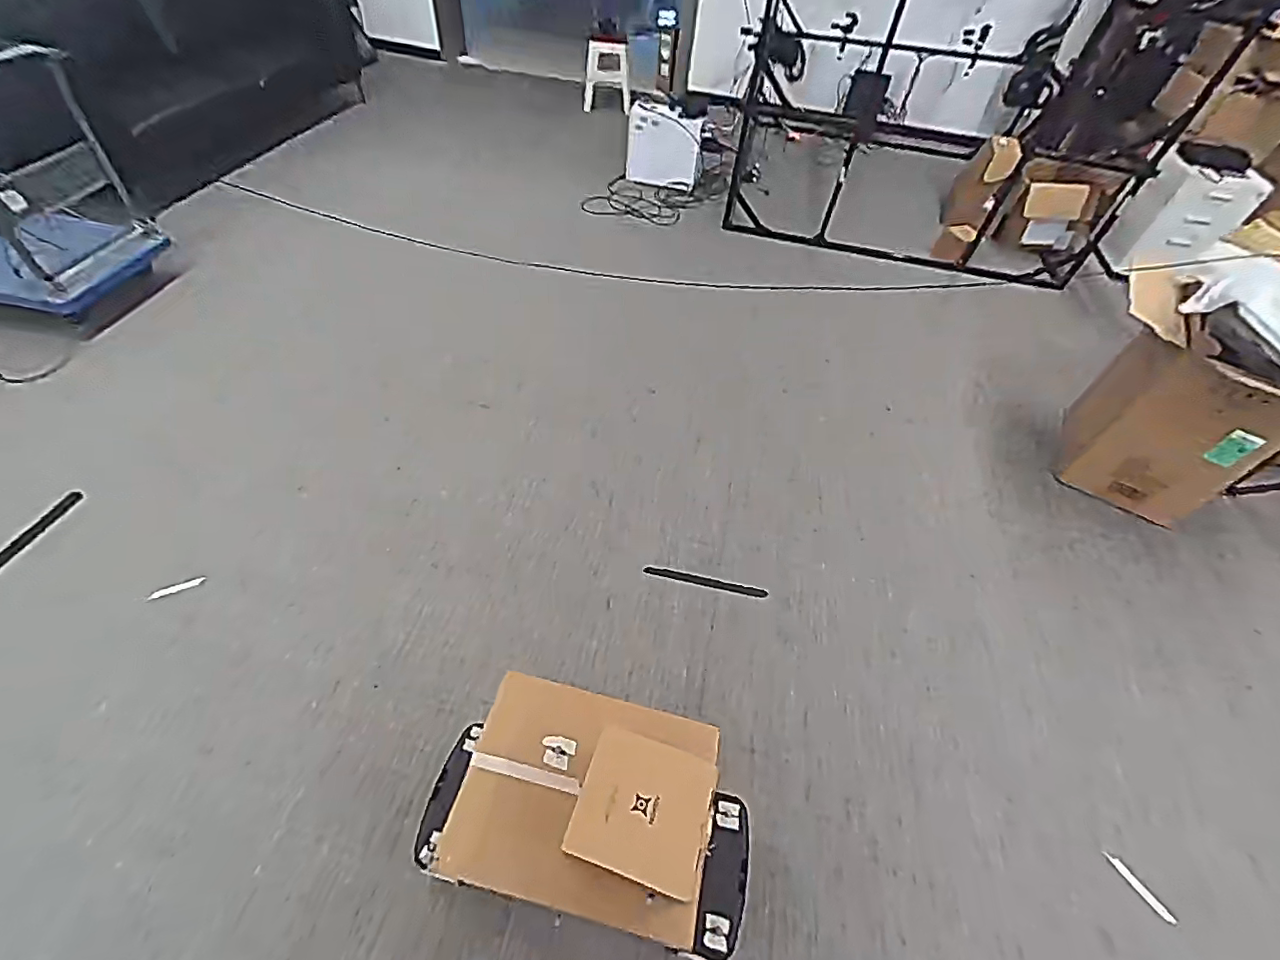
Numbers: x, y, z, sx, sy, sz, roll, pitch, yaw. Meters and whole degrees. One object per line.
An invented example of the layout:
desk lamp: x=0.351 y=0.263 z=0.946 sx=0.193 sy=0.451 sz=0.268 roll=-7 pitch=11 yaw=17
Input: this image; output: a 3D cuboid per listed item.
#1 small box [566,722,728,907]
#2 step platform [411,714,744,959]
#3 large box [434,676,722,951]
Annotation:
small box: x=0.009 y=0.480 z=0.776 sx=0.179 sy=0.176 sz=0.168 roll=17 pitch=51 yaw=9
step platform: x=-0.126 y=0.765 z=1.157 sx=0.684 sy=0.204 sz=0.286 roll=17 pitch=50 yaw=10
large box: x=-0.087 y=0.604 z=0.985 sx=0.408 sy=0.320 sz=0.320 roll=13 pitch=49 yaw=6
